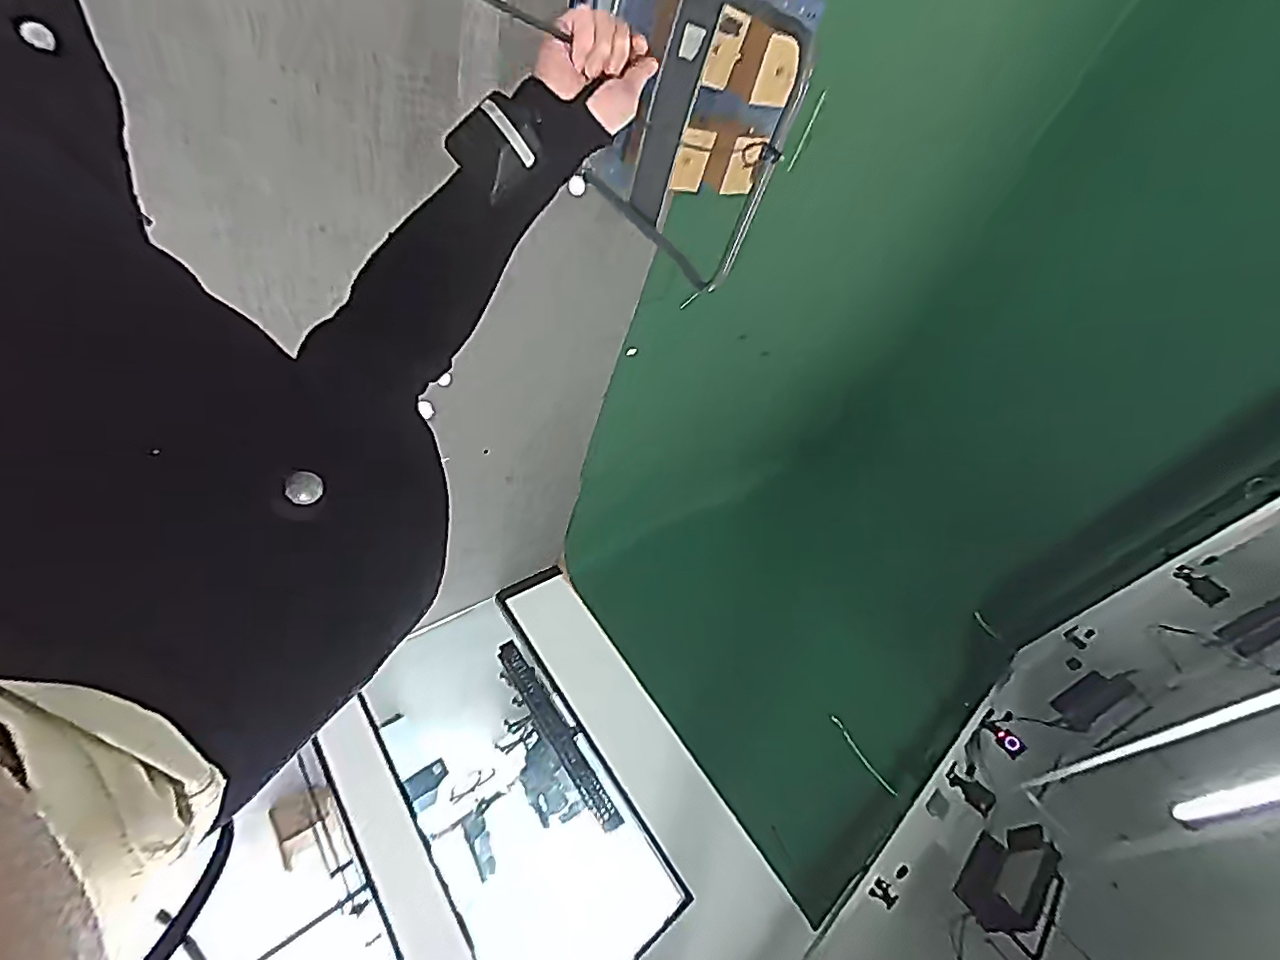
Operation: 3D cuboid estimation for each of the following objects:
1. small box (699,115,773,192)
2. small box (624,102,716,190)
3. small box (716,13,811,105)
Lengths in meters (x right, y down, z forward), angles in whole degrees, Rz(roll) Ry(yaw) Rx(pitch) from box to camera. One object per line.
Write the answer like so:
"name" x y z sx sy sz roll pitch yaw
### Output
"small box" 0.289 -1.056 1.750 0.179 0.176 0.168 -21 148 -33
"small box" 0.084 -0.982 1.590 0.179 0.176 0.168 -18 148 -37
"small box" 0.349 -1.218 1.567 0.179 0.176 0.168 -22 150 -33
